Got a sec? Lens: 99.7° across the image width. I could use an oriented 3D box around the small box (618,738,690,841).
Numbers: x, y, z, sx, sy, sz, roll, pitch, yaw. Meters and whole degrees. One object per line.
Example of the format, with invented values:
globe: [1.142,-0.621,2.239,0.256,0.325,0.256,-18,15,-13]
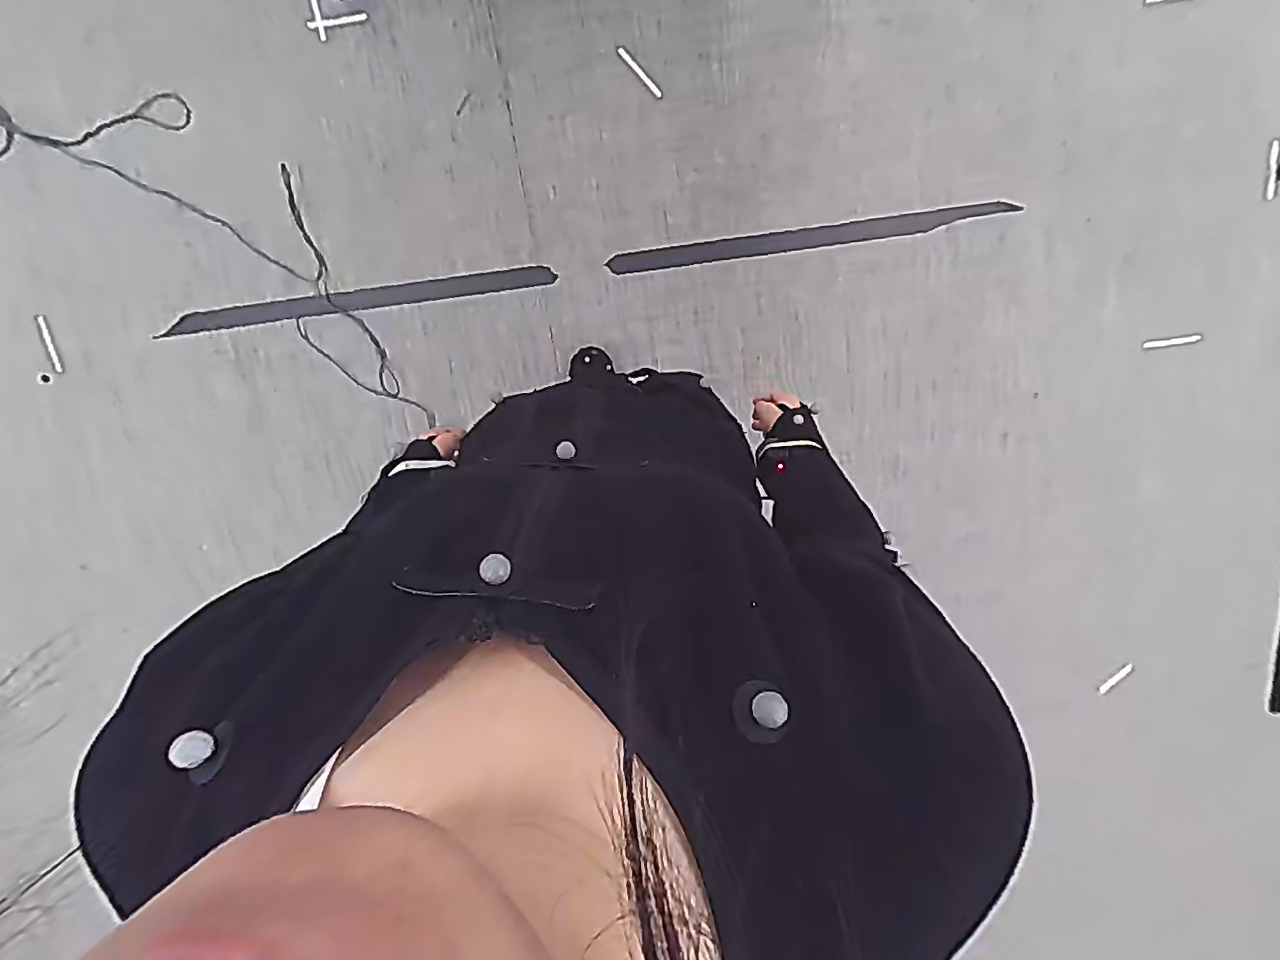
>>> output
small box: [0.039,0.901,1.585,0.168,0.176,0.179,-18,102,2]
